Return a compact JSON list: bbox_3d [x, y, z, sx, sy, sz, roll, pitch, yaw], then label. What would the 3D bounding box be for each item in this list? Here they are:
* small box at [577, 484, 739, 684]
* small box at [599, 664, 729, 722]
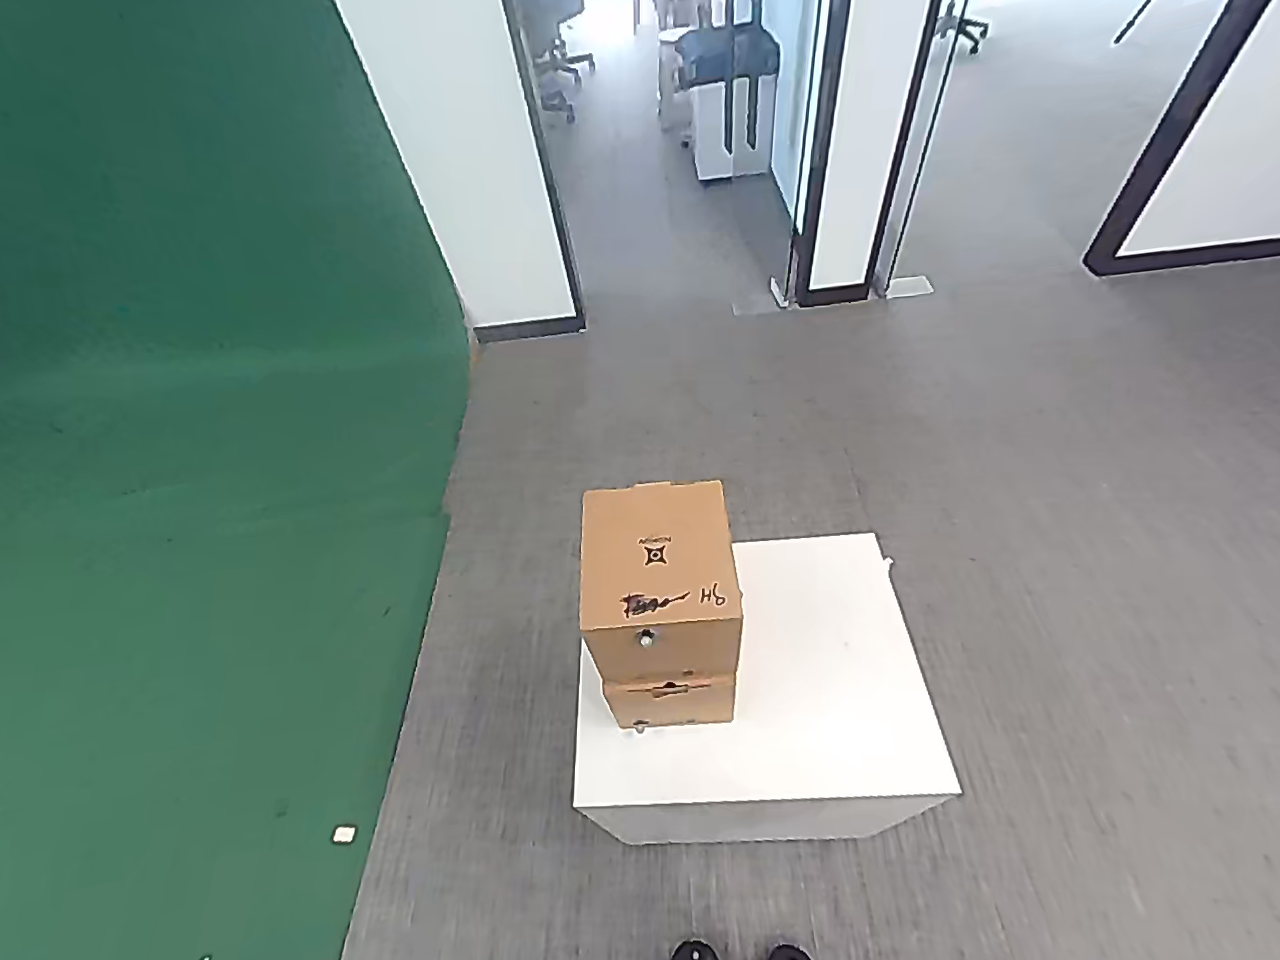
[{"bbox_3d":[0.023,0.128,0.656,0.168,0.176,0.179,-6,50,4],"label":"small box"},{"bbox_3d":[0.037,0.238,0.776,0.168,0.176,0.179,-5,50,3],"label":"small box"}]
